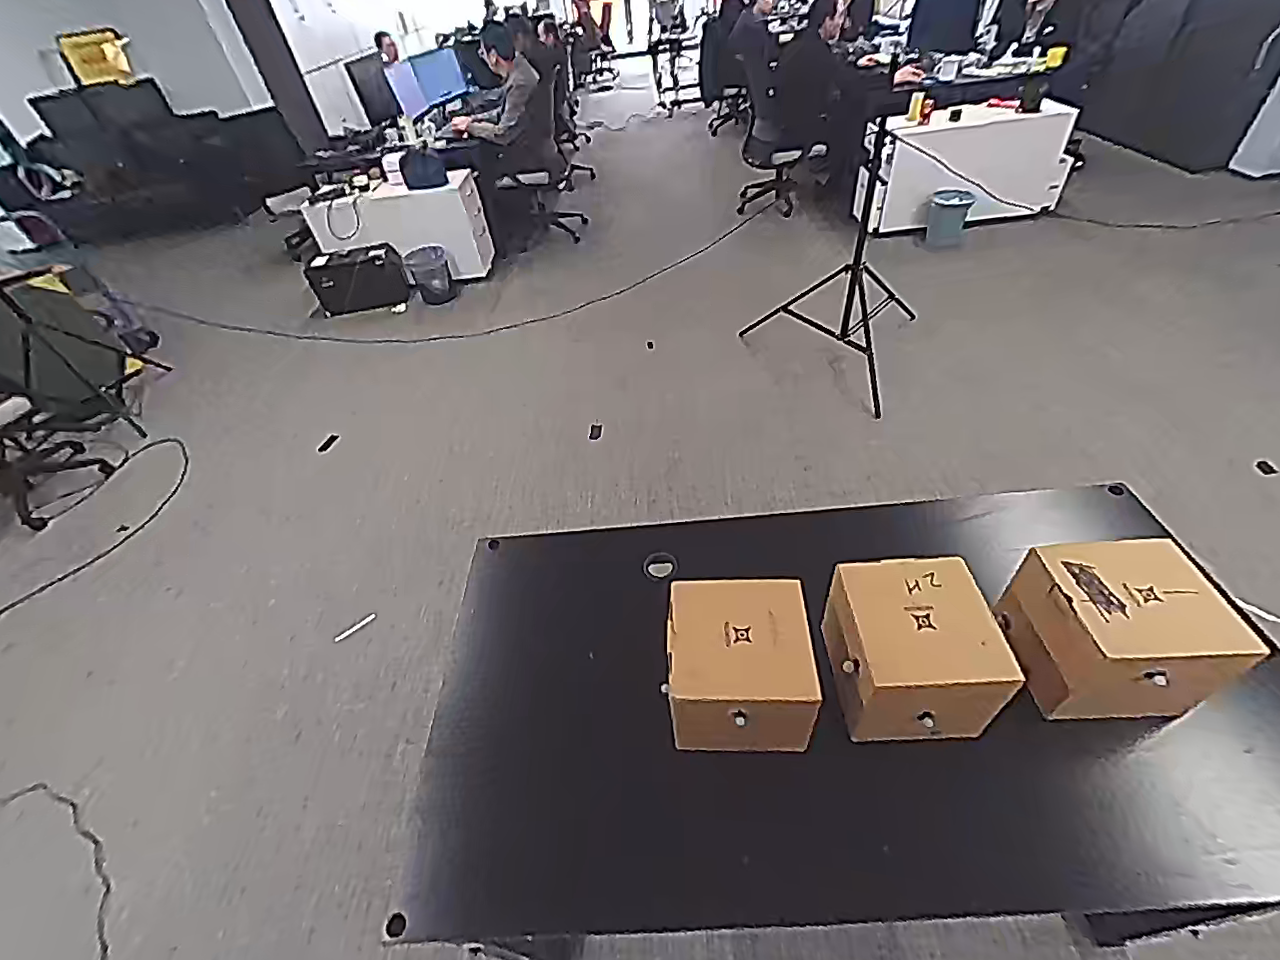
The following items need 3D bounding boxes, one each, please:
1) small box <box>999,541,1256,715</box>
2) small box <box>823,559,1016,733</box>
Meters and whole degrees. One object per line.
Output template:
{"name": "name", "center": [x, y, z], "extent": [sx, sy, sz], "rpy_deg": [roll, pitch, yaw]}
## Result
{"name": "small box", "center": [0.618, 0.201, 0.724], "extent": [0.179, 0.176, 0.168], "rpy_deg": [-3, 44, 5]}
{"name": "small box", "center": [0.359, 0.230, 0.734], "extent": [0.168, 0.176, 0.179], "rpy_deg": [-4, 44, 4]}
